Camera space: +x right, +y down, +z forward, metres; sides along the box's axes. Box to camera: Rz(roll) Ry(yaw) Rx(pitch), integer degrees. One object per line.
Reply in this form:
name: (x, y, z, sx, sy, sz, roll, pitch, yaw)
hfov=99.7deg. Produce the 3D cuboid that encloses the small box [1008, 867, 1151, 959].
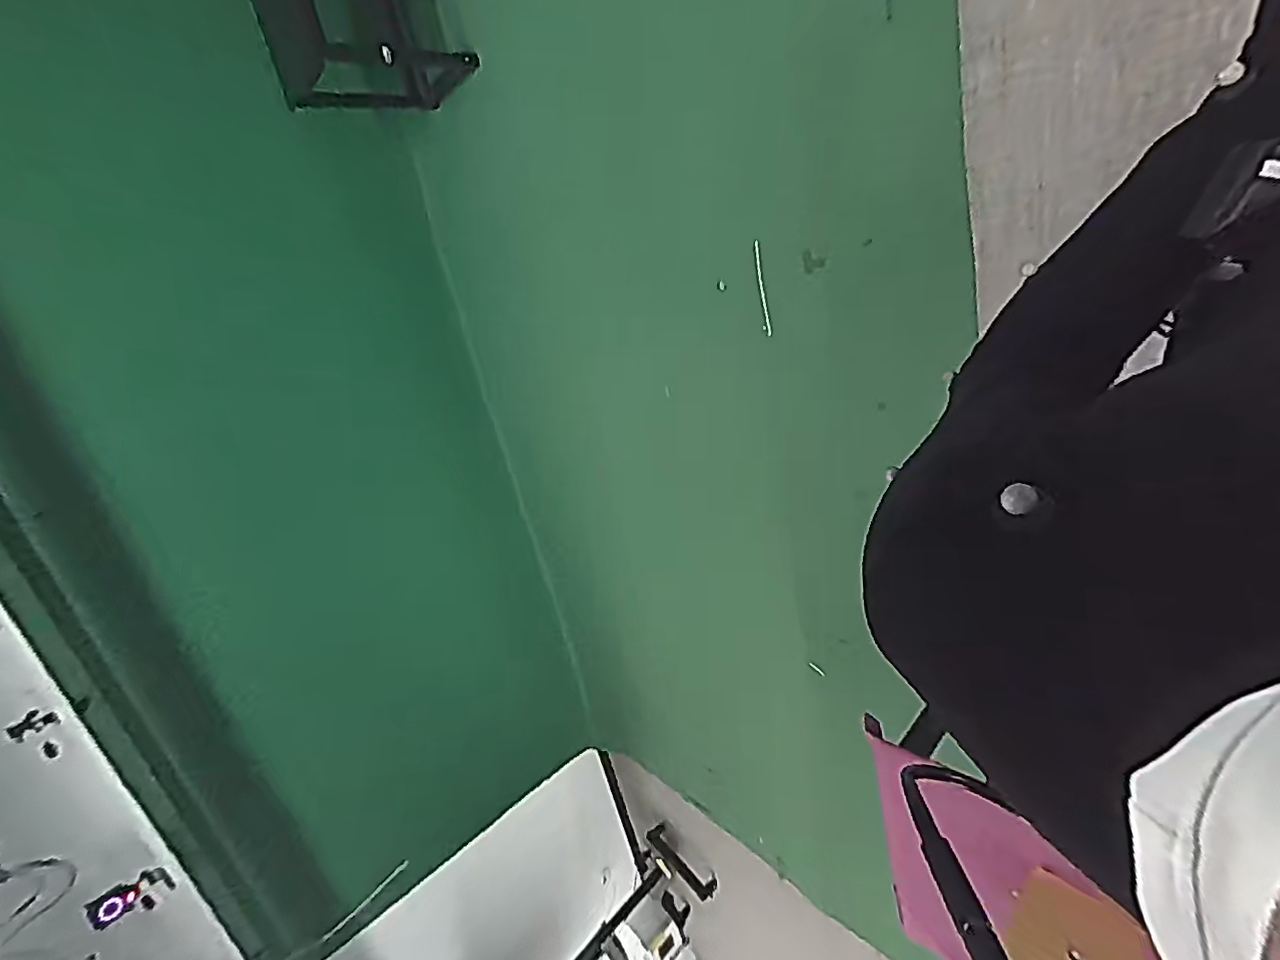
small box: (0.785, 0.864, 0.981, 0.179, 0.176, 0.168, 19, 126, 44)
